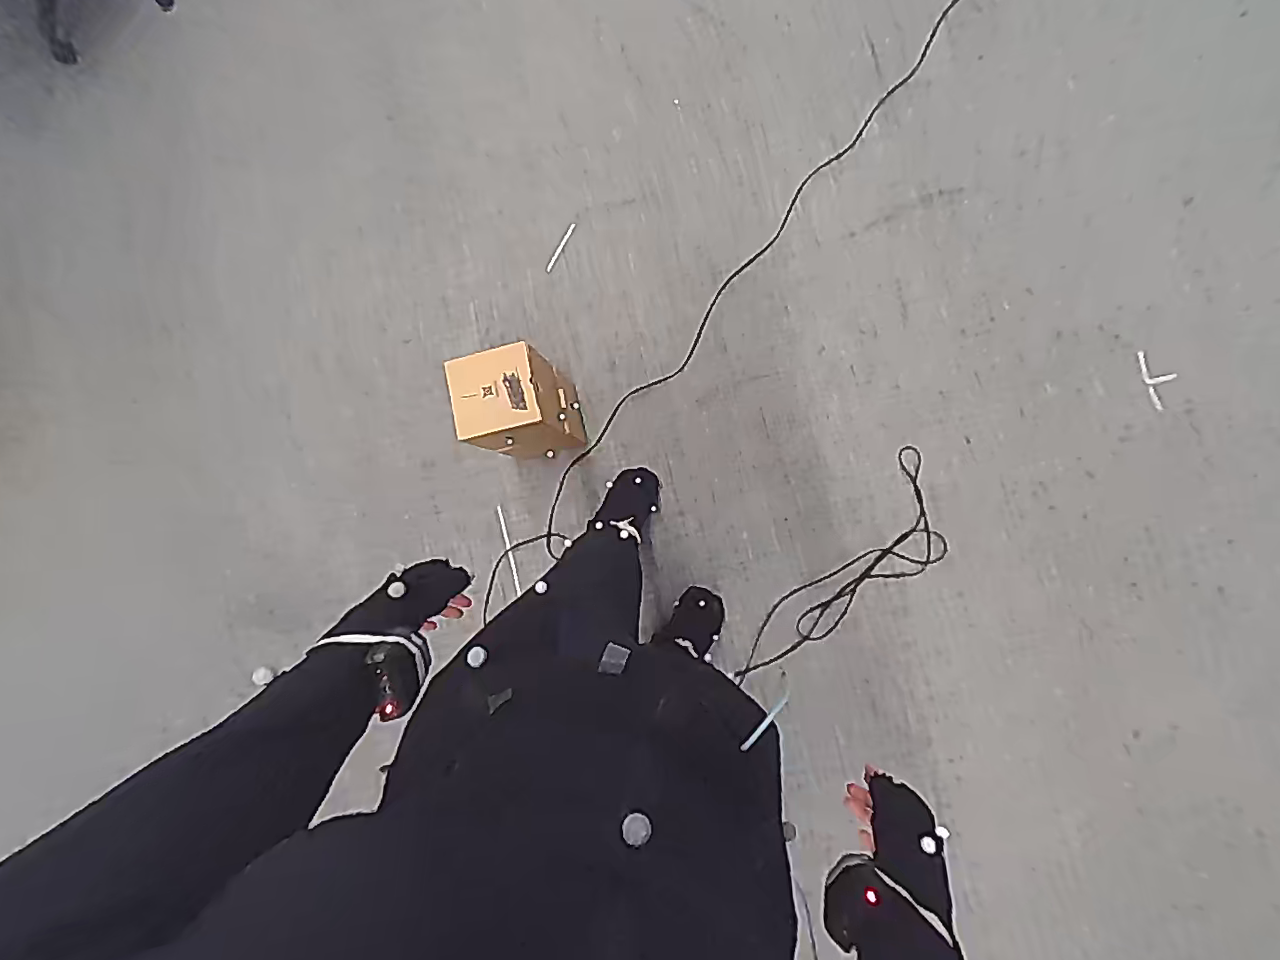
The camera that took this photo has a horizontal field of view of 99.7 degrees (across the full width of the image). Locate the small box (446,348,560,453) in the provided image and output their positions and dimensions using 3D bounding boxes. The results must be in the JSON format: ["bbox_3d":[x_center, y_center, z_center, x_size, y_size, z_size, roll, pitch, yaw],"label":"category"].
[{"bbox_3d":[-0.277,-0.159,1.136,0.179,0.176,0.168,-12,85,8],"label":"small box"}]

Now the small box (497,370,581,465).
[{"bbox_3d":[-0.249,-0.144,1.300,0.179,0.176,0.168,-15,81,5],"label":"small box"}]
